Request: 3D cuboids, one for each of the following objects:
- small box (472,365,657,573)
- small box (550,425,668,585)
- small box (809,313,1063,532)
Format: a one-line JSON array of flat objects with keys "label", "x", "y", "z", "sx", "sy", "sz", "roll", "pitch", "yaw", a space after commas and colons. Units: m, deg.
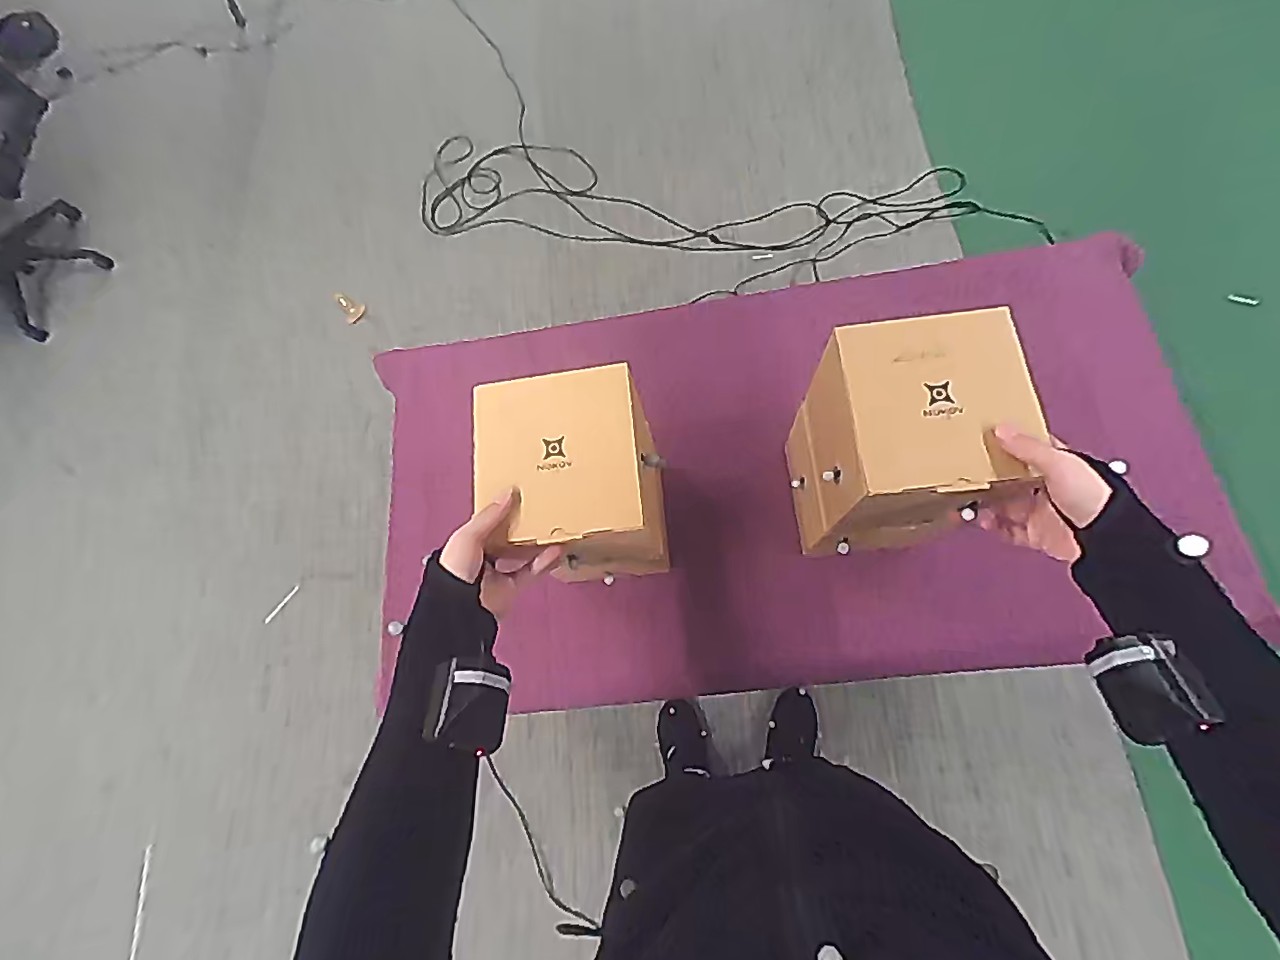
[{"label": "small box", "x": -0.074, "y": -0.002, "z": 0.599, "sx": 0.168, "sy": 0.176, "sz": 0.179, "roll": -7, "pitch": 73, "yaw": 5}, {"label": "small box", "x": -0.054, "y": 0.043, "z": 0.754, "sx": 0.168, "sy": 0.176, "sz": 0.179, "roll": -6, "pitch": 72, "yaw": 6}, {"label": "small box", "x": 0.283, "y": -0.045, "z": 0.565, "sx": 0.168, "sy": 0.176, "sz": 0.179, "roll": -4, "pitch": 71, "yaw": 5}]
